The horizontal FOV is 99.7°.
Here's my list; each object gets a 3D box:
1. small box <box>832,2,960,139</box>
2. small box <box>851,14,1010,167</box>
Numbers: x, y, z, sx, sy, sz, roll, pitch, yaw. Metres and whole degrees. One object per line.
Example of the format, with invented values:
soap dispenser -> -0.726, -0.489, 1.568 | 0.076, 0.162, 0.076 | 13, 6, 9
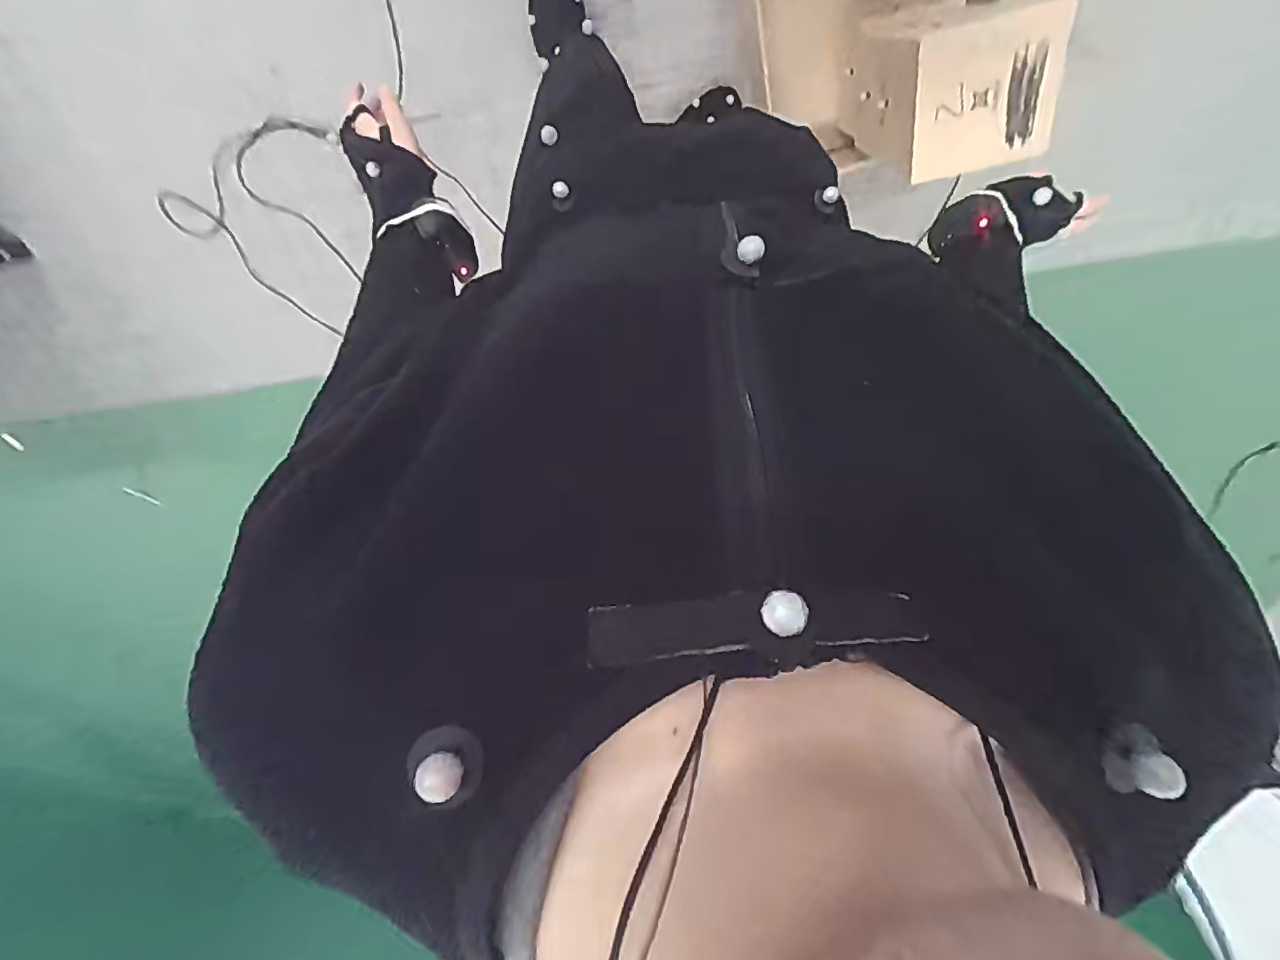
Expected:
small box -> 0.459, -0.747, 1.001 | 0.168, 0.176, 0.179 | -7, 128, 9
small box -> 0.454, -0.632, 0.882 | 0.179, 0.176, 0.168 | -8, 129, 8
